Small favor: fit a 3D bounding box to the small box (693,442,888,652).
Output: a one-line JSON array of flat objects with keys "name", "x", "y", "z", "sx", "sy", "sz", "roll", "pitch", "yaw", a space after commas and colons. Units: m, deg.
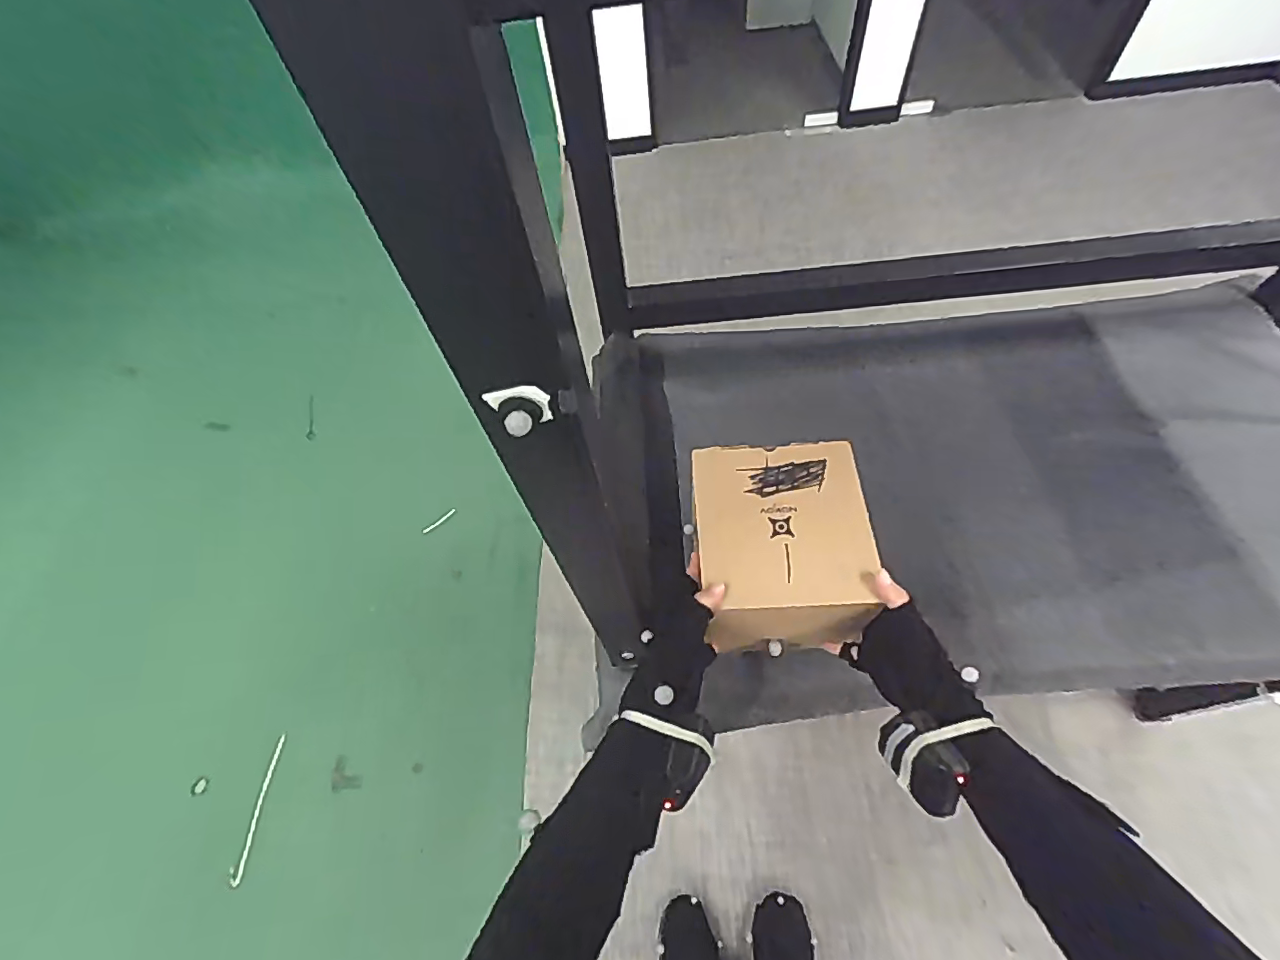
[{"name": "small box", "x": 0.144, "y": 0.079, "z": 0.593, "sx": 0.168, "sy": 0.176, "sz": 0.179, "roll": -3, "pitch": 59, "yaw": 4}]
